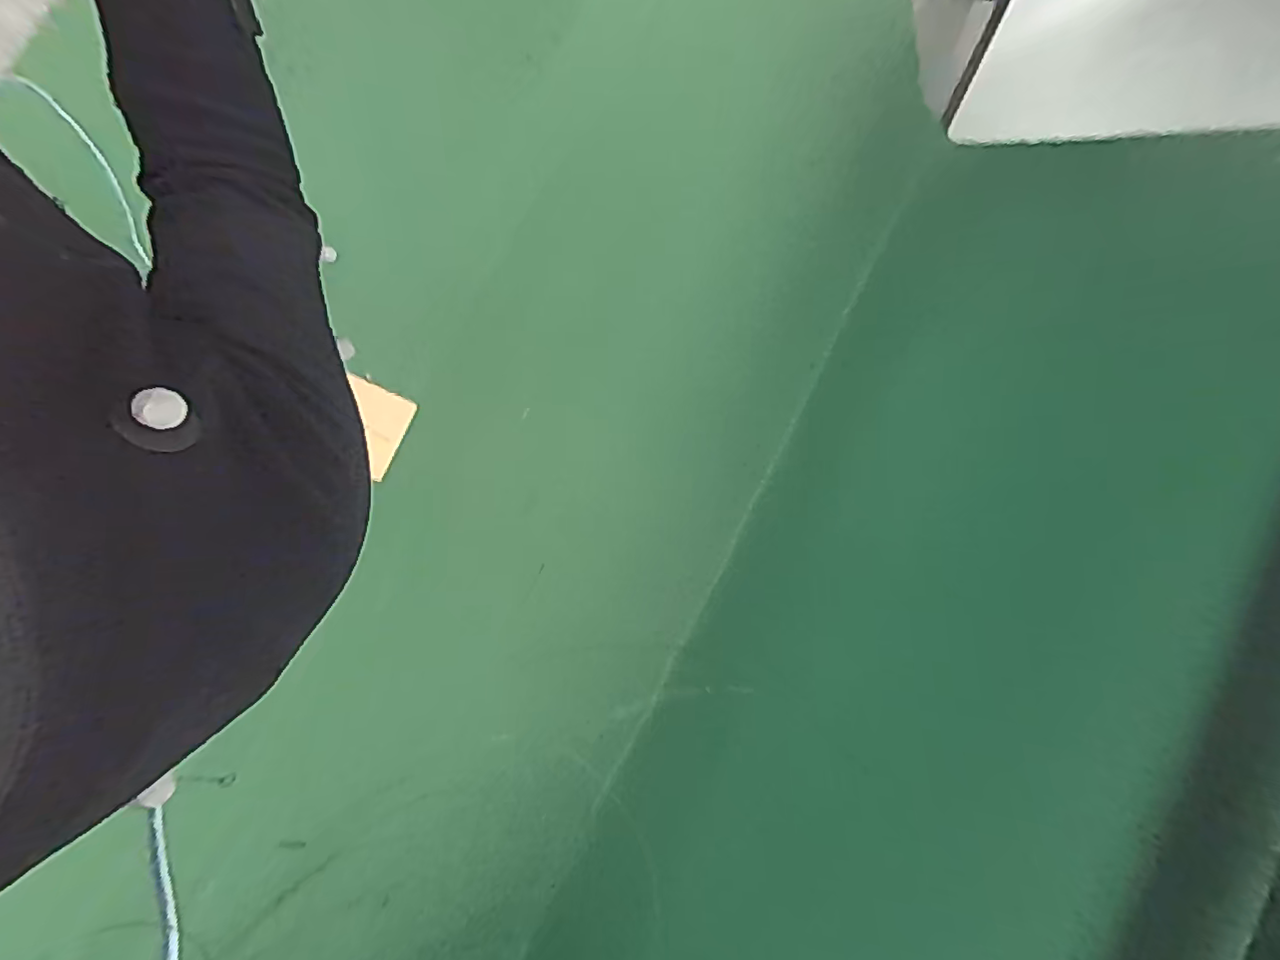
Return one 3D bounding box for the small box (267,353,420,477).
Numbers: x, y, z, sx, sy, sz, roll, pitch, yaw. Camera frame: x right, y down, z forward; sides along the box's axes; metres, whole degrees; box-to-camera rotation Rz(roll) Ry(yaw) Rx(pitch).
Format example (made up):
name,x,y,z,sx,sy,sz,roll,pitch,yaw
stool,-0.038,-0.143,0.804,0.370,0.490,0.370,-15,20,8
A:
name,x,y,z,sx,sy,sz,roll,pitch,yaw
small box,-0.567,-0.127,1.031,0.179,0.176,0.168,29,86,-53
